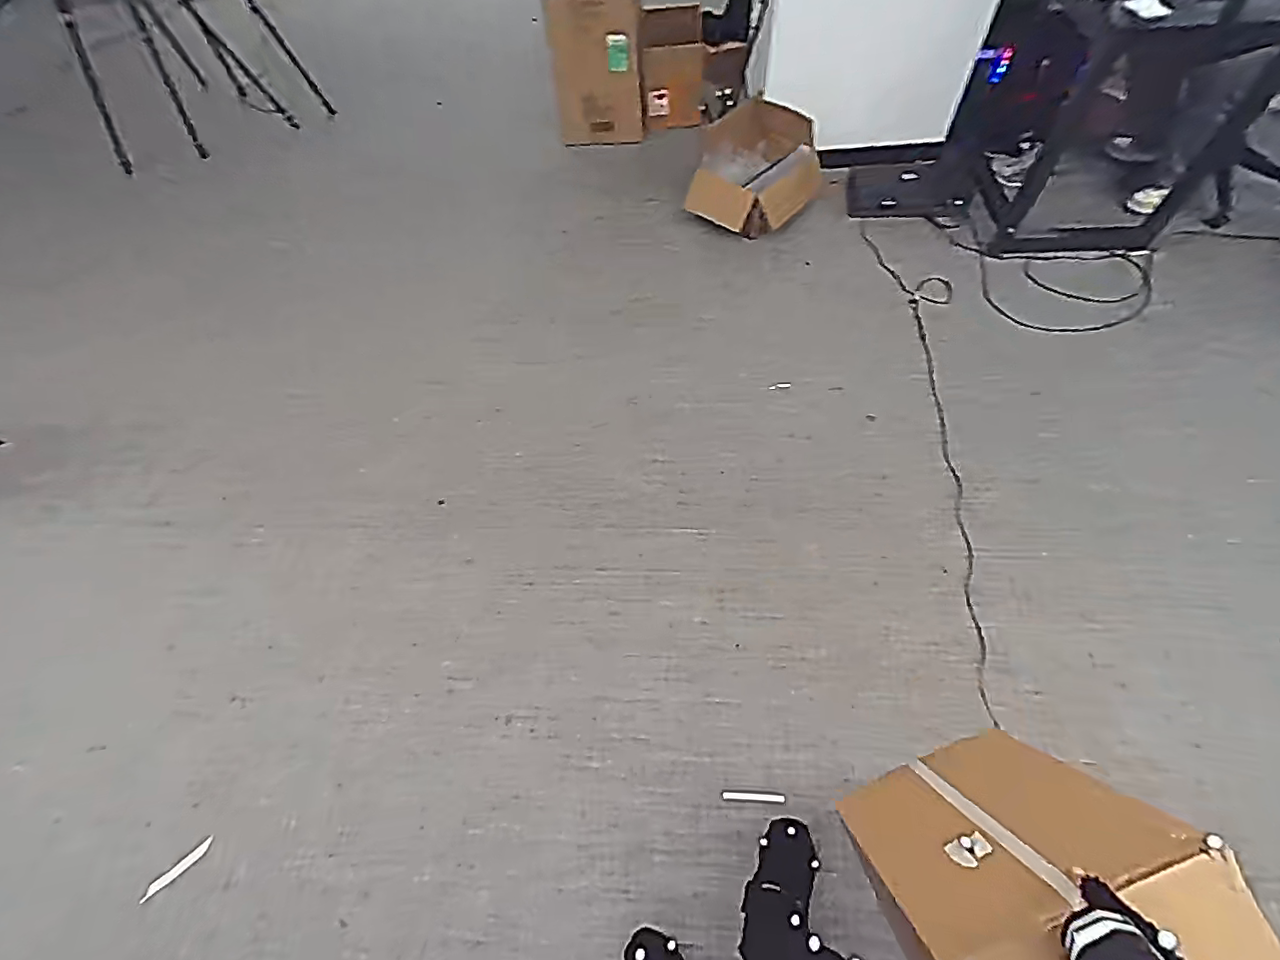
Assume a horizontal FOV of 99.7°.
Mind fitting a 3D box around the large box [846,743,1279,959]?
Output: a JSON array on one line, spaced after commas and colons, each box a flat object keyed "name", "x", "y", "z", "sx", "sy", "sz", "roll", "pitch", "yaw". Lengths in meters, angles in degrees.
[{"name": "large box", "x": 0.537, "y": 0.615, "z": 0.713, "sx": 0.320, "sy": 0.408, "sz": 0.320, "roll": -23, "pitch": 81, "yaw": 0}]
